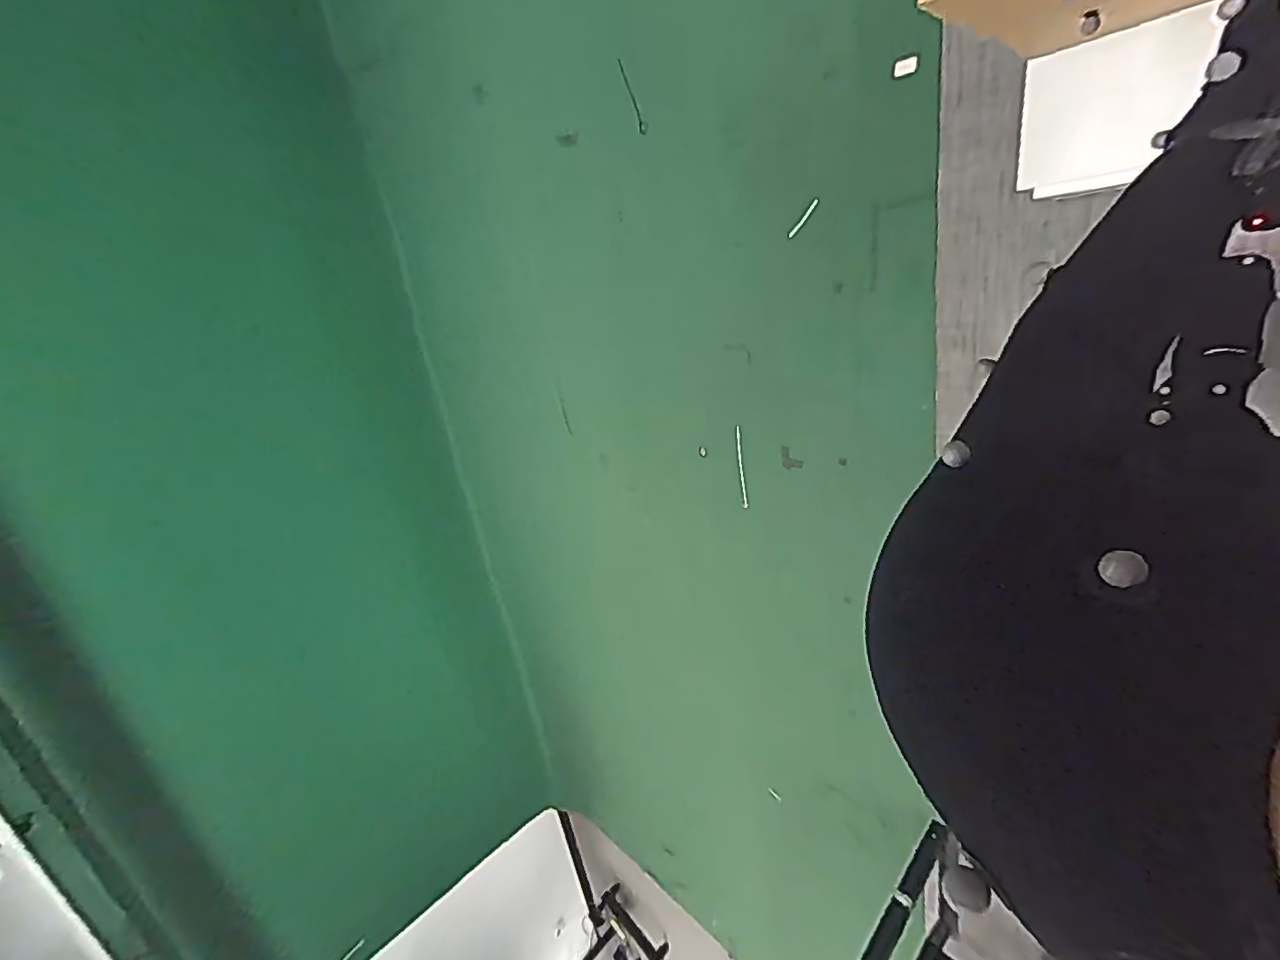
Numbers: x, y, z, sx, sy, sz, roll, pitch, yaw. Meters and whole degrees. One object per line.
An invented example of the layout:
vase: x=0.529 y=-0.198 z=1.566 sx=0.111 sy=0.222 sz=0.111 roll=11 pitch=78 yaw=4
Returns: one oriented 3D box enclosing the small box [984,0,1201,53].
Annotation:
small box: x=0.443 y=-0.524 z=0.491 sx=0.179 sy=0.176 sz=0.168 roll=11 pitch=119 yaw=45
